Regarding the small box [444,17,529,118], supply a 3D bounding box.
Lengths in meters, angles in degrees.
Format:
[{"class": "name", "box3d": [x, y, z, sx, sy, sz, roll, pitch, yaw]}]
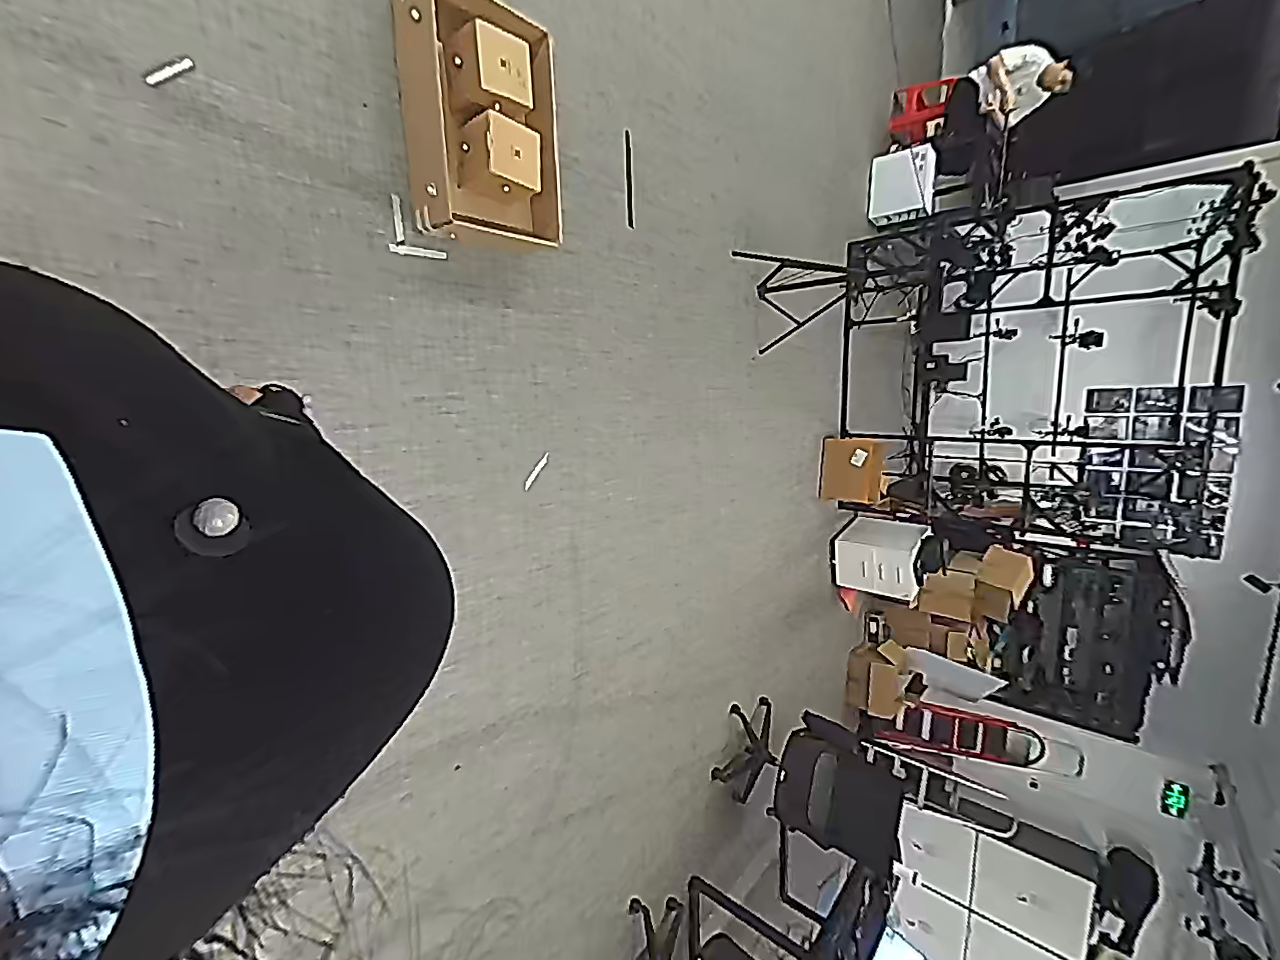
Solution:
[{"class": "small box", "box3d": [-0.438, -1.148, 1.532, 0.179, 0.176, 0.168, -15, 109, -48]}]

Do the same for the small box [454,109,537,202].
[{"class": "small box", "box3d": [-0.423, -0.938, 1.586, 0.179, 0.176, 0.168, -5, 98, -49]}]
